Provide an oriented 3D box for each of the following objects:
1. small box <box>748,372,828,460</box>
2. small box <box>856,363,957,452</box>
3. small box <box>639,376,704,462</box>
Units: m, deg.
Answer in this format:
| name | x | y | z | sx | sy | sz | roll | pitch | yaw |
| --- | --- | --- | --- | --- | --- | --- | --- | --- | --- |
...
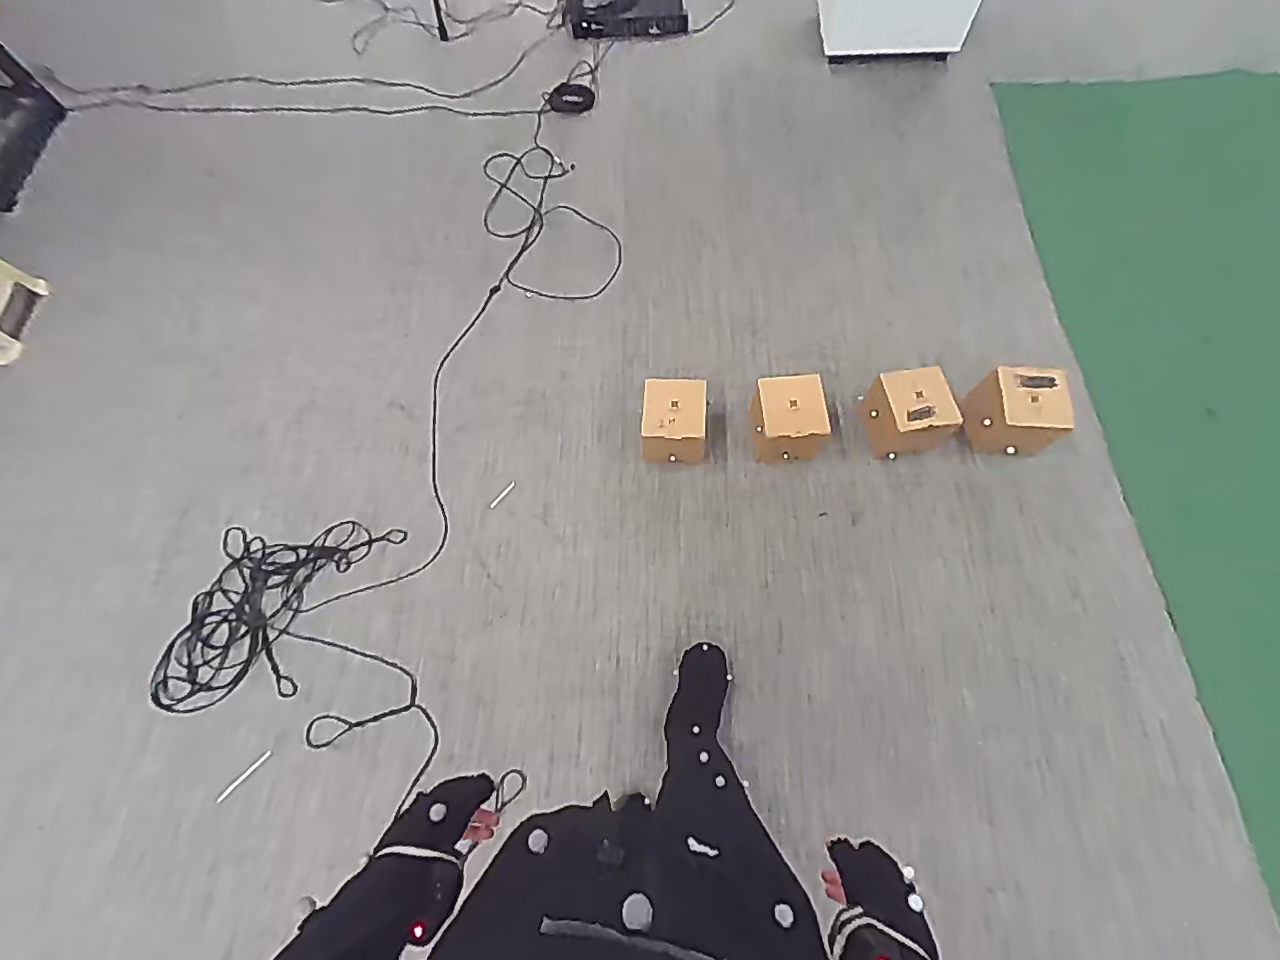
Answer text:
| name | x | y | z | sx | sy | sz | roll | pitch | yaw |
| --- | --- | --- | --- | --- | --- | --- | --- | --- | --- |
| small box | 0.392 | -0.169 | 1.469 | 0.168 | 0.176 | 0.179 | -5 | 68 | 2 |
| small box | 0.710 | -0.187 | 1.459 | 0.168 | 0.176 | 0.179 | -8 | 67 | -1 |
| small box | 0.087 | -0.164 | 1.483 | 0.168 | 0.176 | 0.179 | 2 | 68 | 5 |
